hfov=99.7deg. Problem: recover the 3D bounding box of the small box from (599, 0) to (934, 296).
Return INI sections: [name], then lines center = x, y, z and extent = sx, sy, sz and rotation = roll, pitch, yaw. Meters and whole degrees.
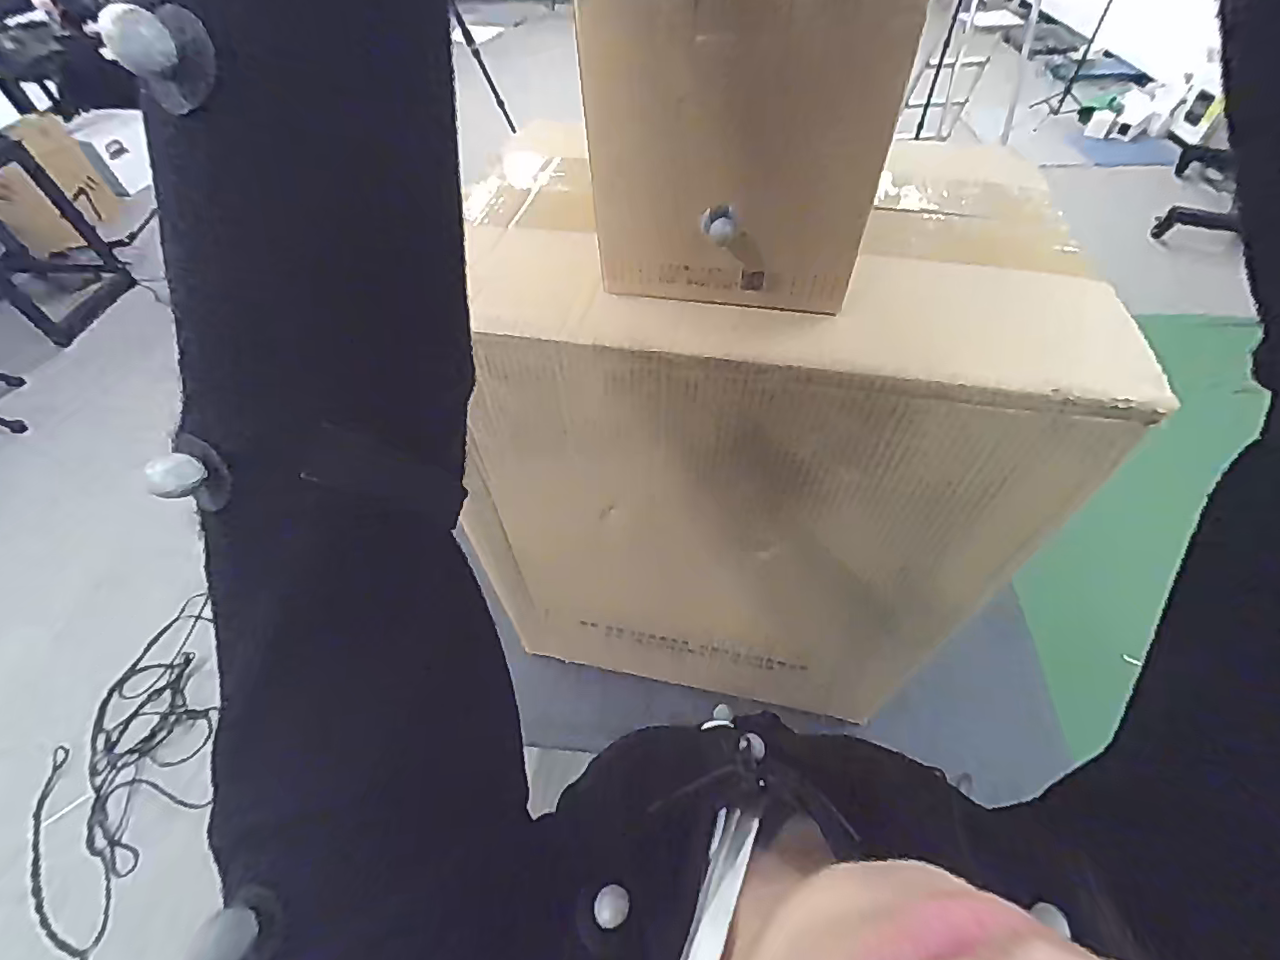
[small box]
center = 0.075, -0.252, 0.365
extent = 0.168, 0.176, 0.179
rotation = 8, 53, 9
